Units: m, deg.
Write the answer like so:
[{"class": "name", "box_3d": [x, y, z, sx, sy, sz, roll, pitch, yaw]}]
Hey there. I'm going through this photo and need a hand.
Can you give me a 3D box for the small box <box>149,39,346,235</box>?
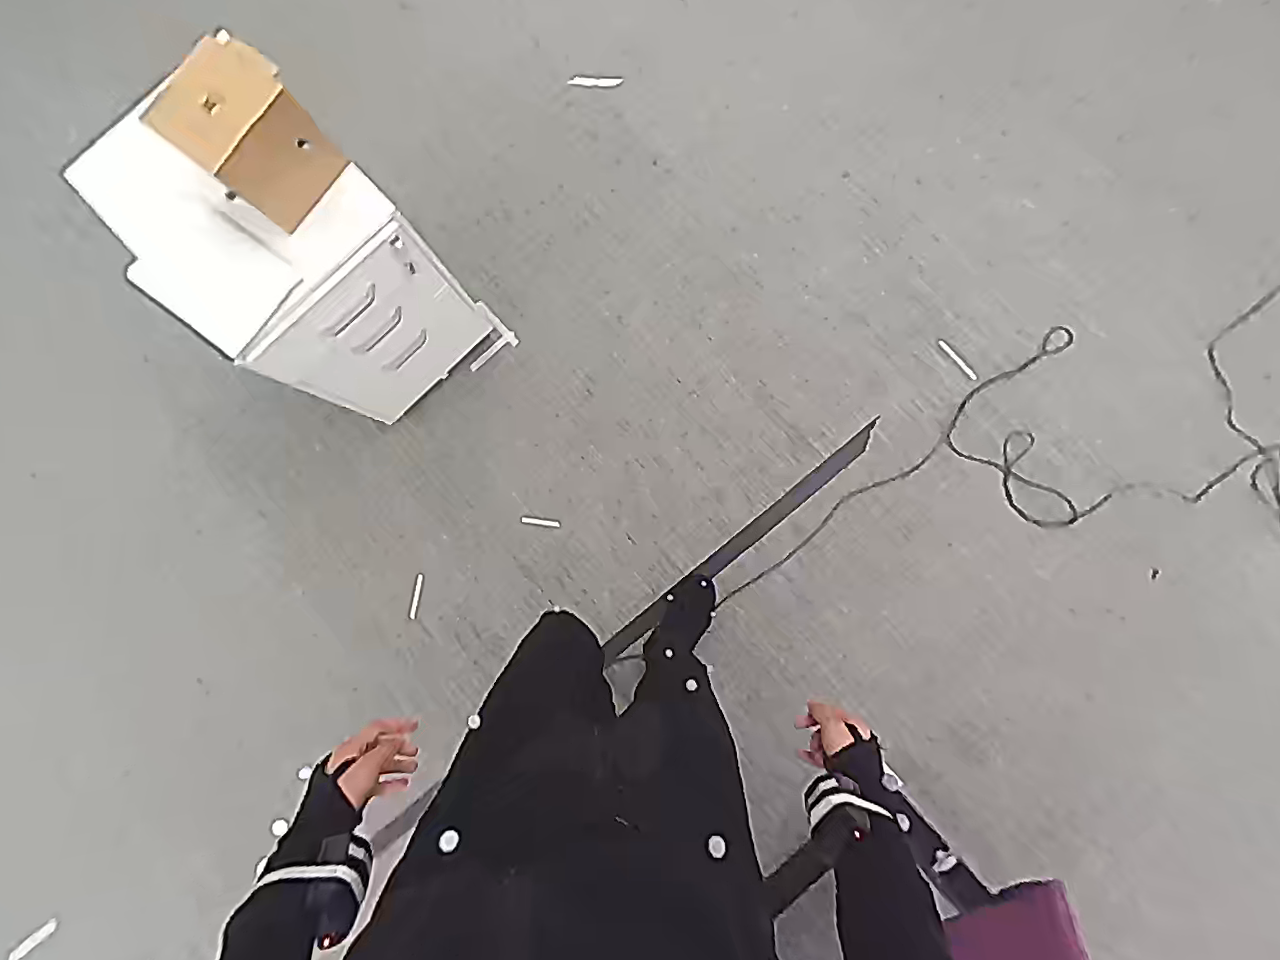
[{"class": "small box", "box_3d": [-0.630, -0.557, 0.899, 0.168, 0.176, 0.179, 38, 88, 7]}]
